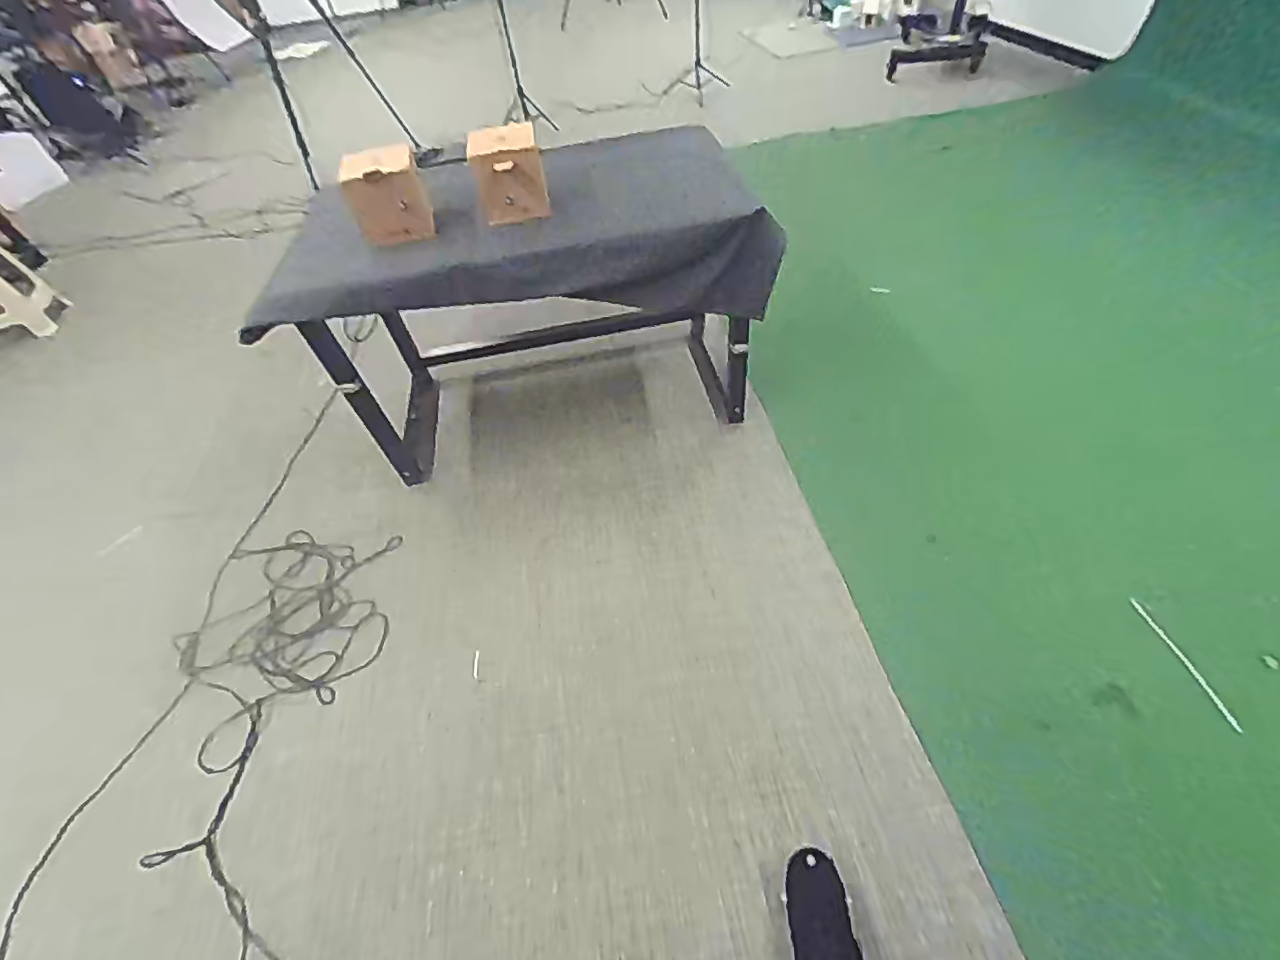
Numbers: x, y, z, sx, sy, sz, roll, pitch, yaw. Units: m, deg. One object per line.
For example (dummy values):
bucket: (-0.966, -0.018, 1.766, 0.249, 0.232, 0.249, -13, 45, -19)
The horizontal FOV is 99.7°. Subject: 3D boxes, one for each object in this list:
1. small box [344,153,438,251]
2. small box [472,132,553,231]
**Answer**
small box: (-0.625, -0.702, 1.378, 0.168, 0.176, 0.179, -15, 48, -7)
small box: (-0.325, -0.769, 1.396, 0.168, 0.176, 0.179, -11, 50, -2)
